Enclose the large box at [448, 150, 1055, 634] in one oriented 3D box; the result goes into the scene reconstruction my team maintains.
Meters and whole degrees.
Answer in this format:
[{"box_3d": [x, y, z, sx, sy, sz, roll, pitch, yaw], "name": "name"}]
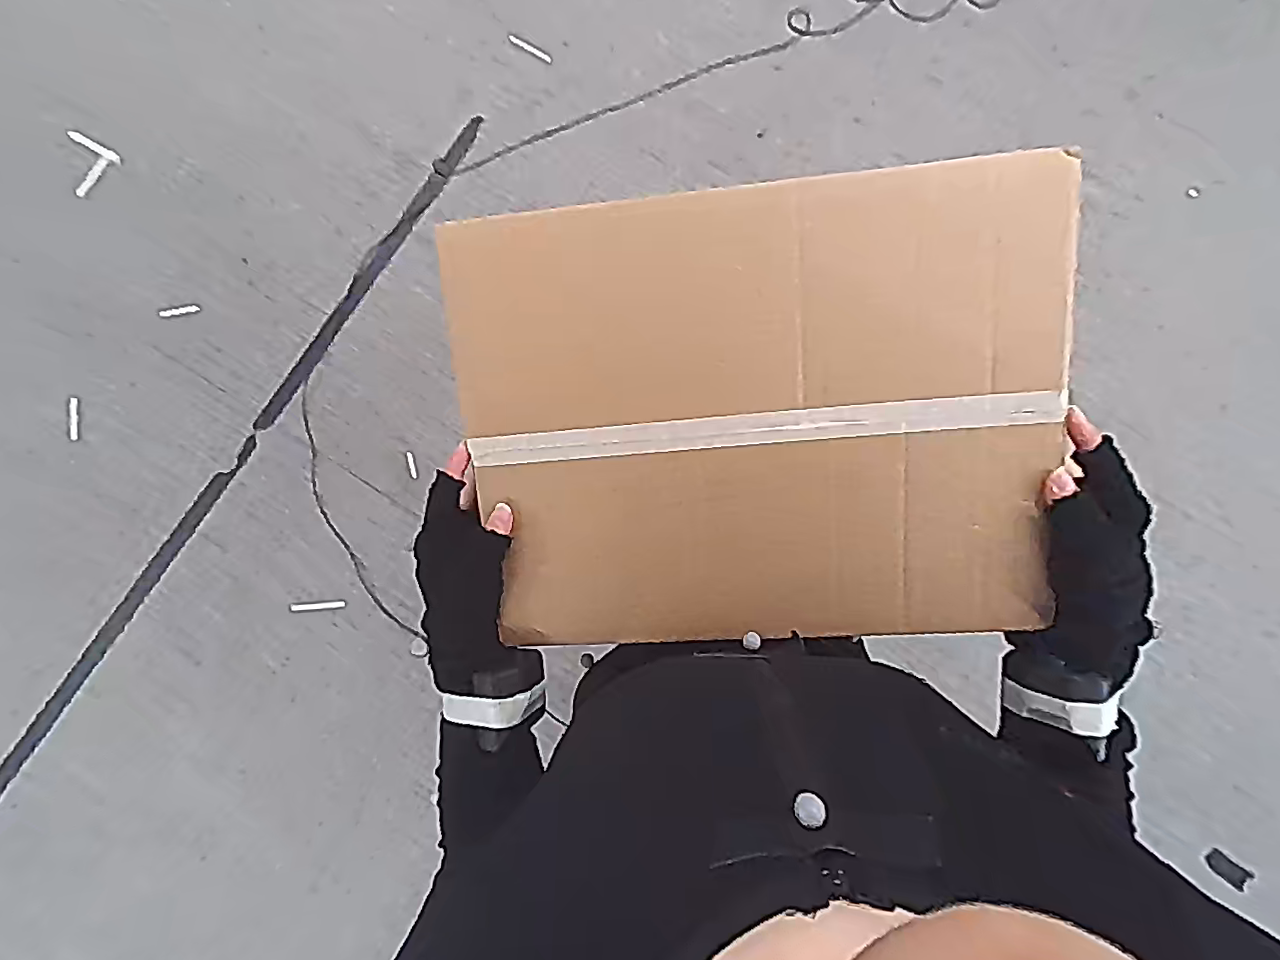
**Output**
[{"box_3d": [0.087, -0.070, 0.529, 0.408, 0.320, 0.320, -4, 102, 6], "name": "large box"}]
